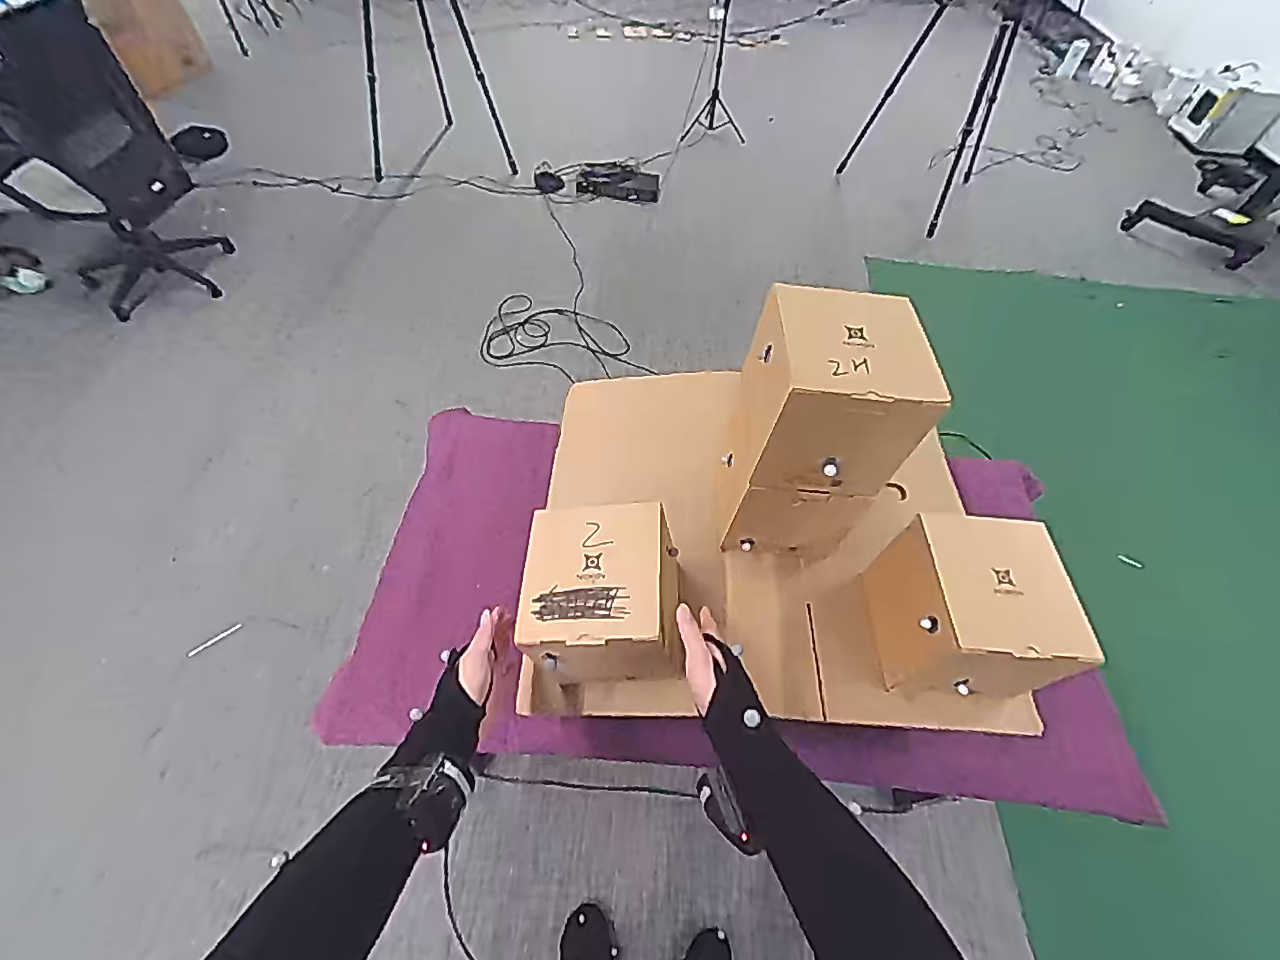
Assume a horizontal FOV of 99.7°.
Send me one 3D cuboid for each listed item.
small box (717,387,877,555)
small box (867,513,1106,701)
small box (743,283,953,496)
[{"bbox_3d":[0.210,-0.007,0.776,0.168,0.176,0.179,5,54,-4],"label":"small box"},{"bbox_3d":[0.411,0.164,0.683,0.168,0.176,0.179,5,55,-3],"label":"small box"},{"bbox_3d":[0.225,-0.104,0.644,0.168,0.176,0.179,5,55,-3],"label":"small box"}]
